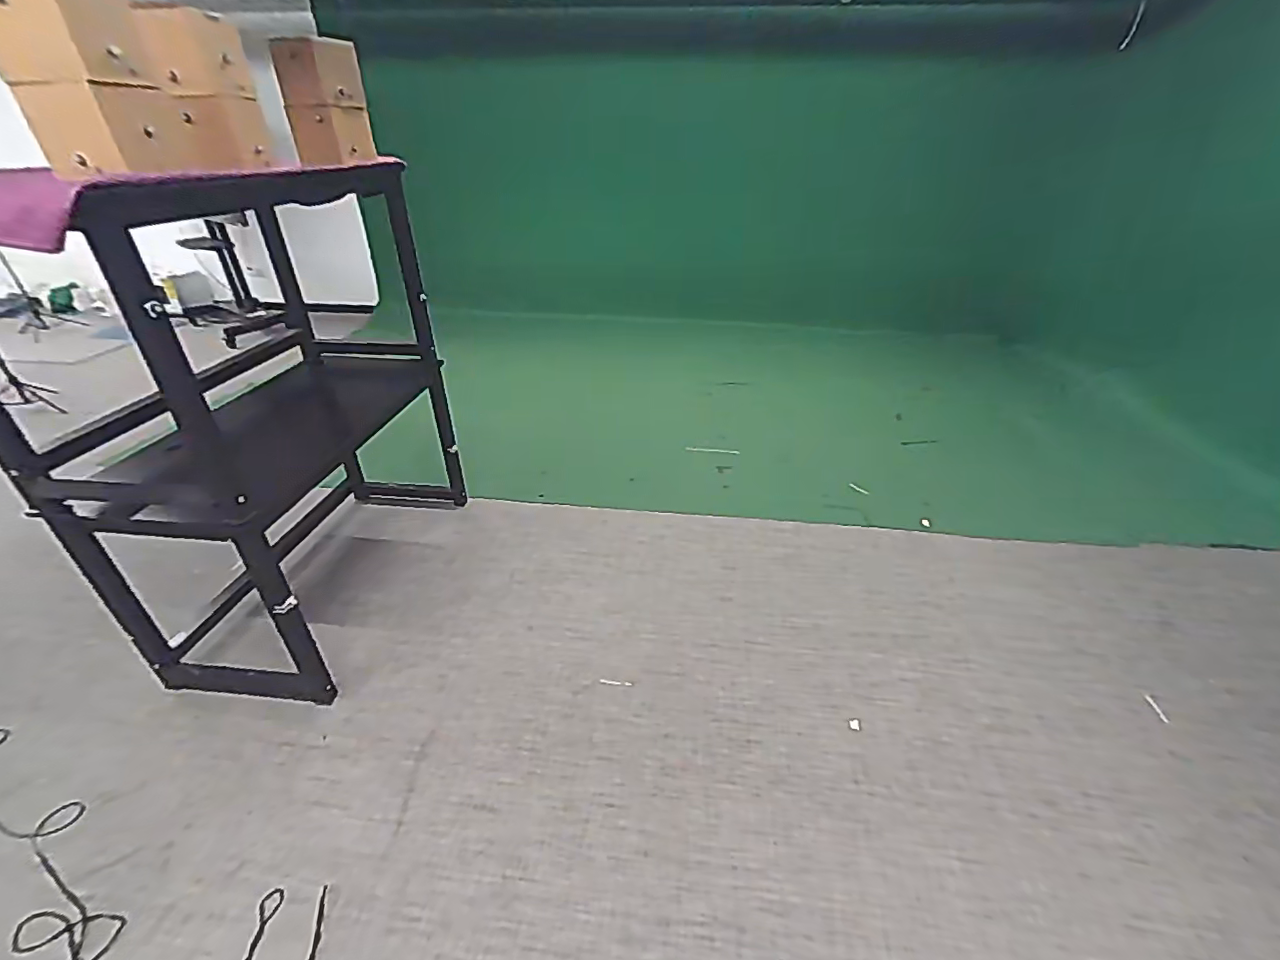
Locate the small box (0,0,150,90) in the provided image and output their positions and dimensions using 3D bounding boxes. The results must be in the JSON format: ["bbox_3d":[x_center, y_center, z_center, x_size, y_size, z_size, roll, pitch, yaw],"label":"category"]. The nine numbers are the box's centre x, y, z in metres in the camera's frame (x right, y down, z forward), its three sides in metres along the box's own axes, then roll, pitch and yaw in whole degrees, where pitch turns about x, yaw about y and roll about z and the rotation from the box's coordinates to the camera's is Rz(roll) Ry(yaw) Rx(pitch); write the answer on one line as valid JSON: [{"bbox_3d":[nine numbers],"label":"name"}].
[{"bbox_3d":[-1.093,-0.840,1.009,0.179,0.176,0.168,1,33,2],"label":"small box"}]

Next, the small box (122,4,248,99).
[{"bbox_3d":[-1.111,-1.033,1.316,0.179,0.176,0.168,2,32,3],"label":"small box"}]

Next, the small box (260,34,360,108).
[{"bbox_3d":[-1.002,-1.247,1.656,0.179,0.176,0.168,13,36,15],"label":"small box"}]

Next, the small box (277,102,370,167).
[{"bbox_3d":[-1.013,-1.112,1.746,0.179,0.176,0.168,10,35,13],"label":"small box"}]
